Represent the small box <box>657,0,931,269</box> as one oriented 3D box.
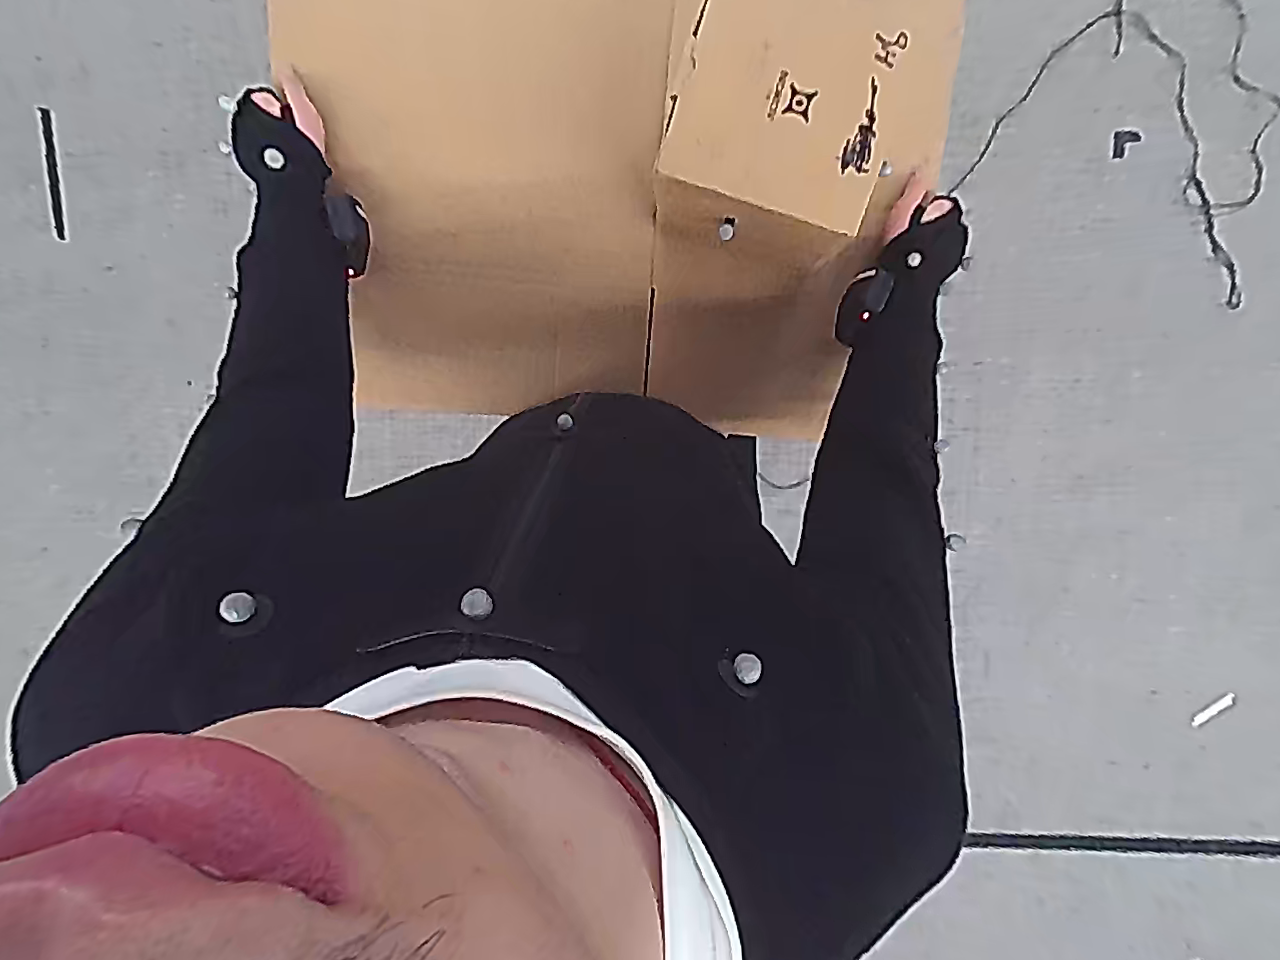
[{"bbox_3d":[0.127,-0.319,0.514,0.179,0.176,0.168,19,100,2],"label":"small box"}]
